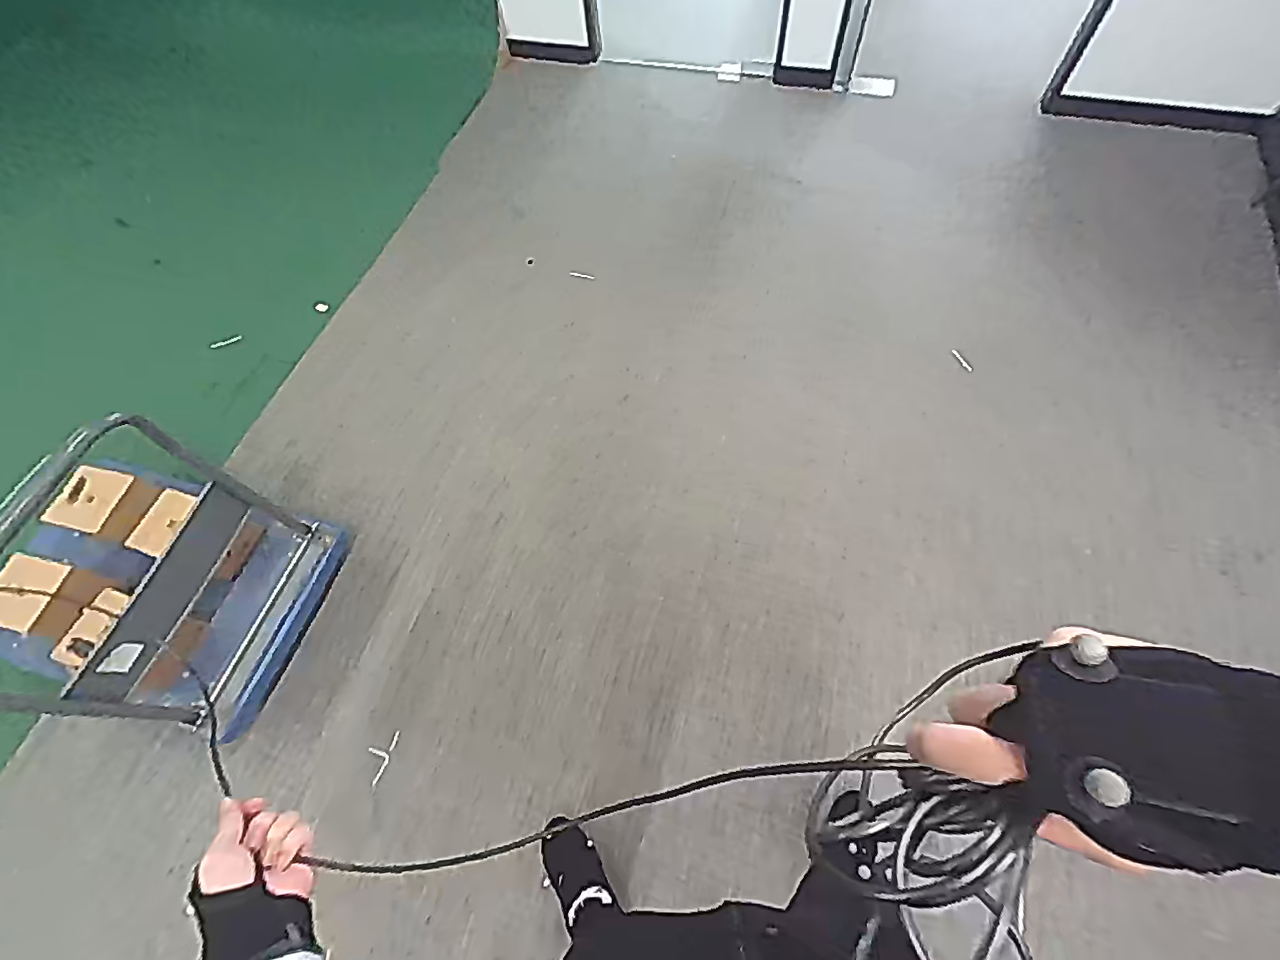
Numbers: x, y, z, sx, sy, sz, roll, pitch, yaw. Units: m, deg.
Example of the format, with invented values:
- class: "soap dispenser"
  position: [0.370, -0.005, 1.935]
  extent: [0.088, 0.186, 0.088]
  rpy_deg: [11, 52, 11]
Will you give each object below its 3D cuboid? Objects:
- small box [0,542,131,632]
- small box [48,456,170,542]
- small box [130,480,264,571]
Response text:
- class: "small box"
  position: [-1.480, 0.279, 1.379]
  extent: [0.179, 0.176, 0.168]
  rpy_deg: [12, 64, 9]
- class: "small box"
  position: [-1.420, 0.058, 1.484]
  extent: [0.179, 0.176, 0.168]
  rpy_deg: [12, 66, 8]
- class: "small box"
  position: [-1.164, 0.127, 1.437]
  extent: [0.179, 0.176, 0.168]
  rpy_deg: [16, 66, 10]
